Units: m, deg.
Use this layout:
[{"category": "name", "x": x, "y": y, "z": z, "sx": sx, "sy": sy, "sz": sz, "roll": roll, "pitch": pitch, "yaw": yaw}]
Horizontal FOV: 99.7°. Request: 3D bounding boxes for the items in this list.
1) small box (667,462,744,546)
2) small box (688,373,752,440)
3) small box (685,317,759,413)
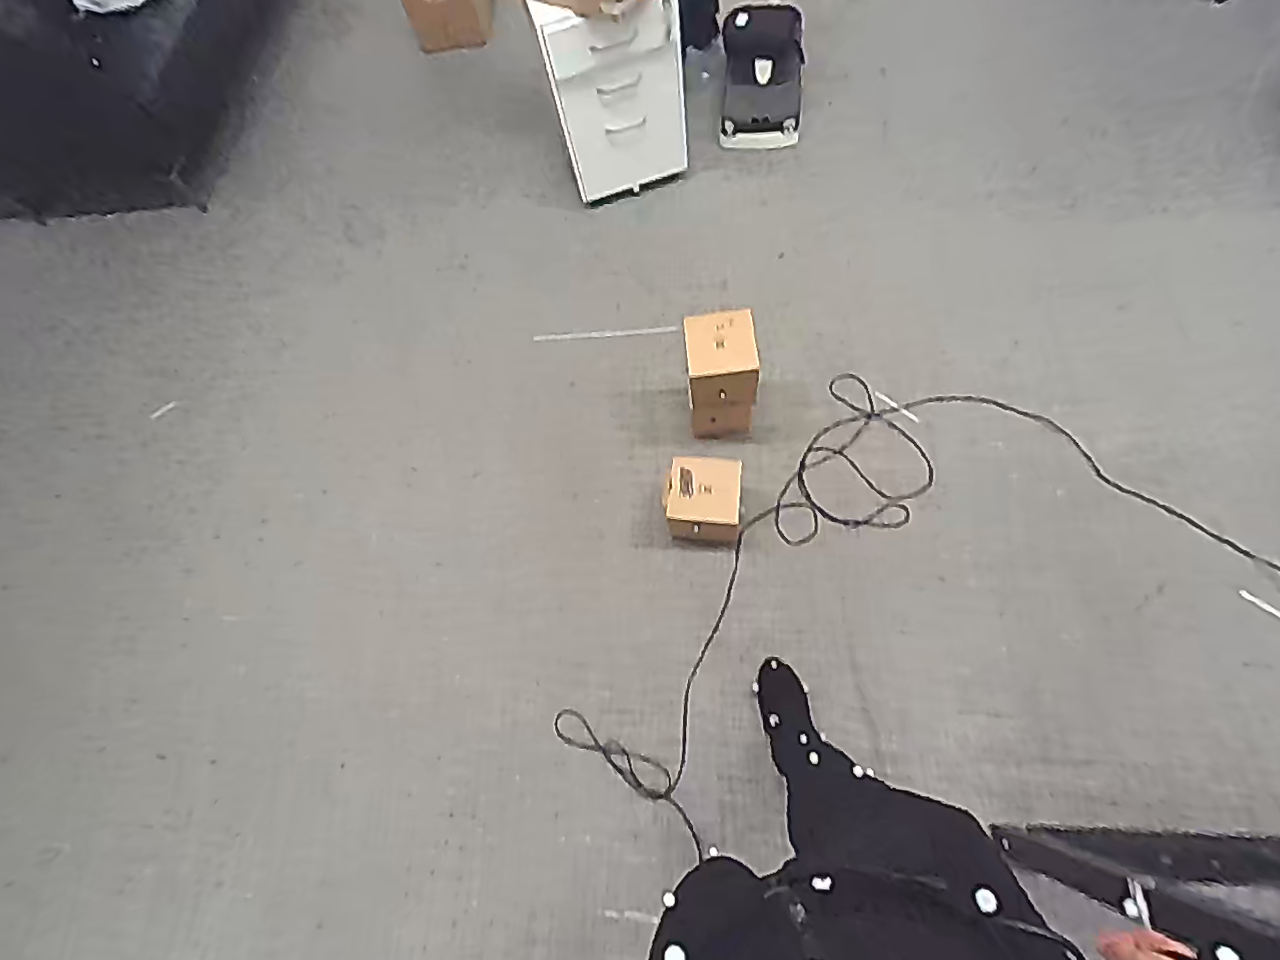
[{"category": "small box", "x": 0.174, "y": 0.066, "z": 1.402, "sx": 0.179, "sy": 0.176, "sz": 0.168, "roll": 4, "pitch": 67, "yaw": 10}, {"category": "small box", "x": 0.227, "y": -0.223, "z": 1.523, "sx": 0.168, "sy": 0.176, "sz": 0.179, "roll": -4, "pitch": 65, "yaw": 8}, {"category": "small box", "x": 0.207, "y": -0.282, "z": 1.370, "sx": 0.168, "sy": 0.176, "sz": 0.179, "roll": -6, "pitch": 65, "yaw": 7}]
